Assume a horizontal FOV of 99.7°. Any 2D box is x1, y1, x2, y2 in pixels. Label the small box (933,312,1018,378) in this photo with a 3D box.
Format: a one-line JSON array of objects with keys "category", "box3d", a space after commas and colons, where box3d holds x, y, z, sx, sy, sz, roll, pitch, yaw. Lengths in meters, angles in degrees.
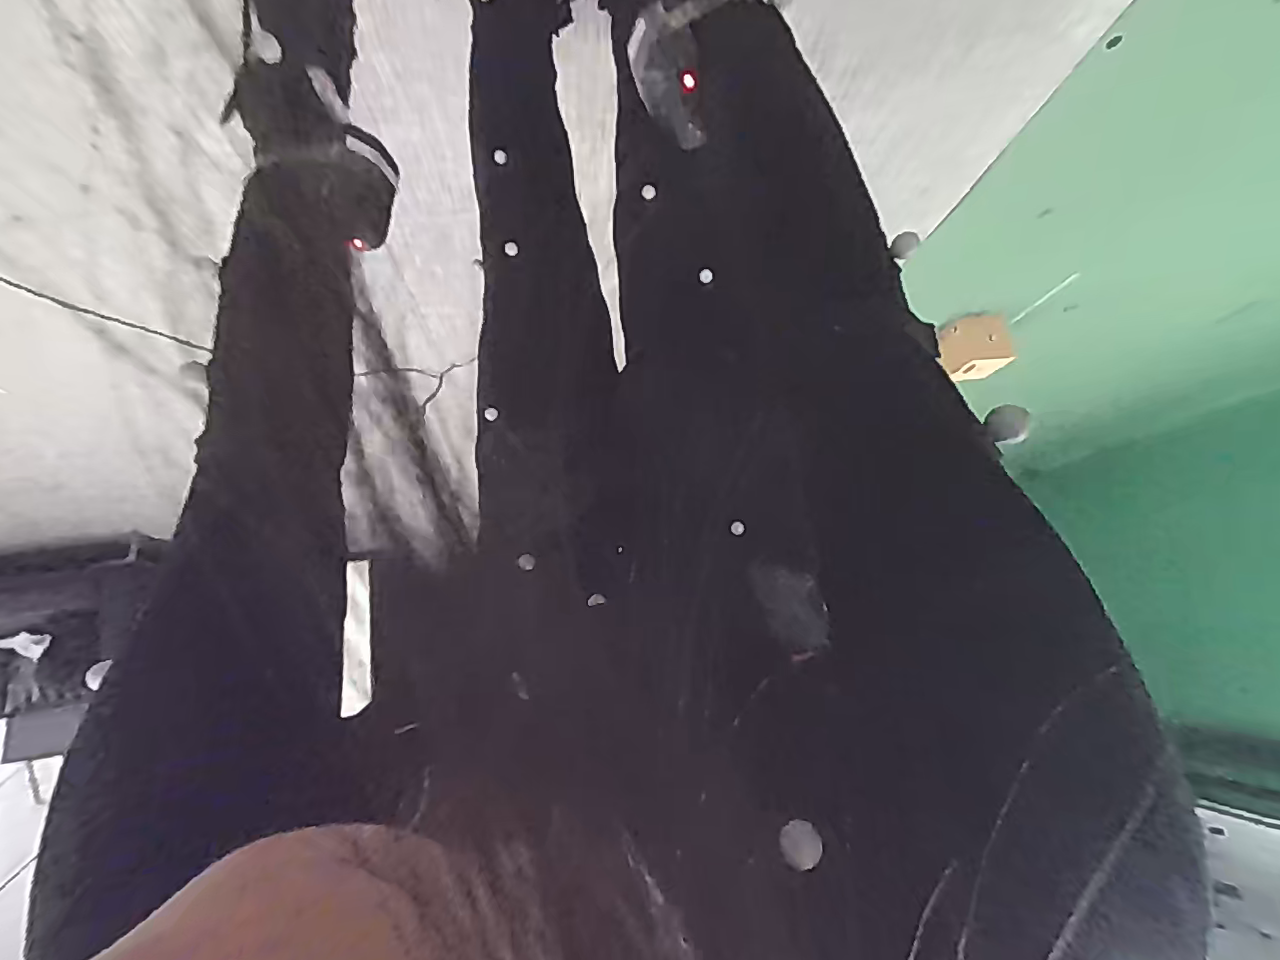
[{"category": "small box", "box3d": [1.184, -0.481, 1.923, 0.179, 0.176, 0.168, -7, 165, -9]}]
